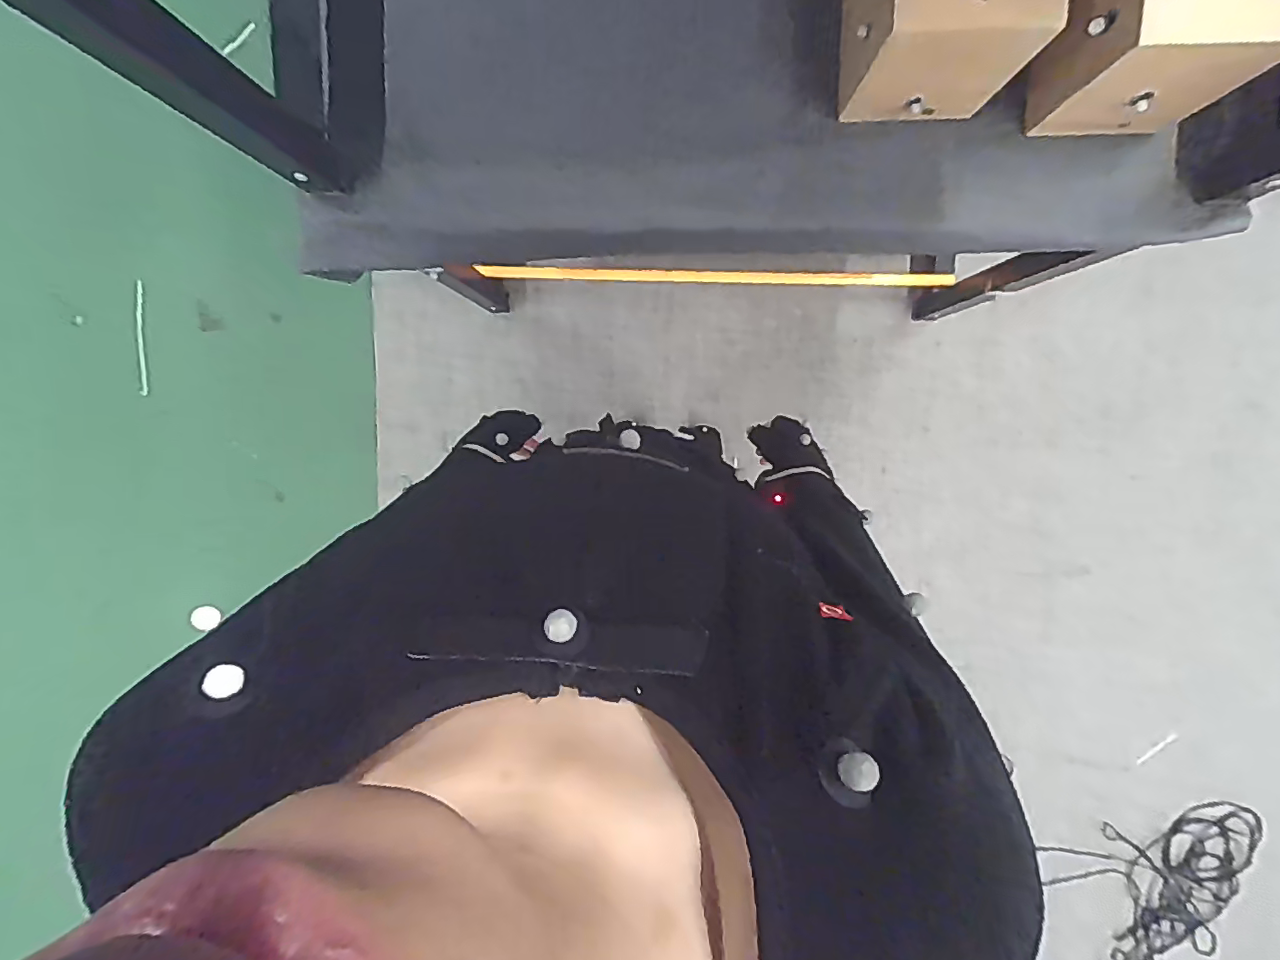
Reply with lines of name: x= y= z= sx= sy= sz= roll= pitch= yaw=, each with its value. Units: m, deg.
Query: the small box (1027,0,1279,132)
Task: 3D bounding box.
small box: x=0.560 y=-0.507 z=0.587 sx=0.168 sy=0.176 sz=0.179 roll=0 pitch=96 yaw=2
